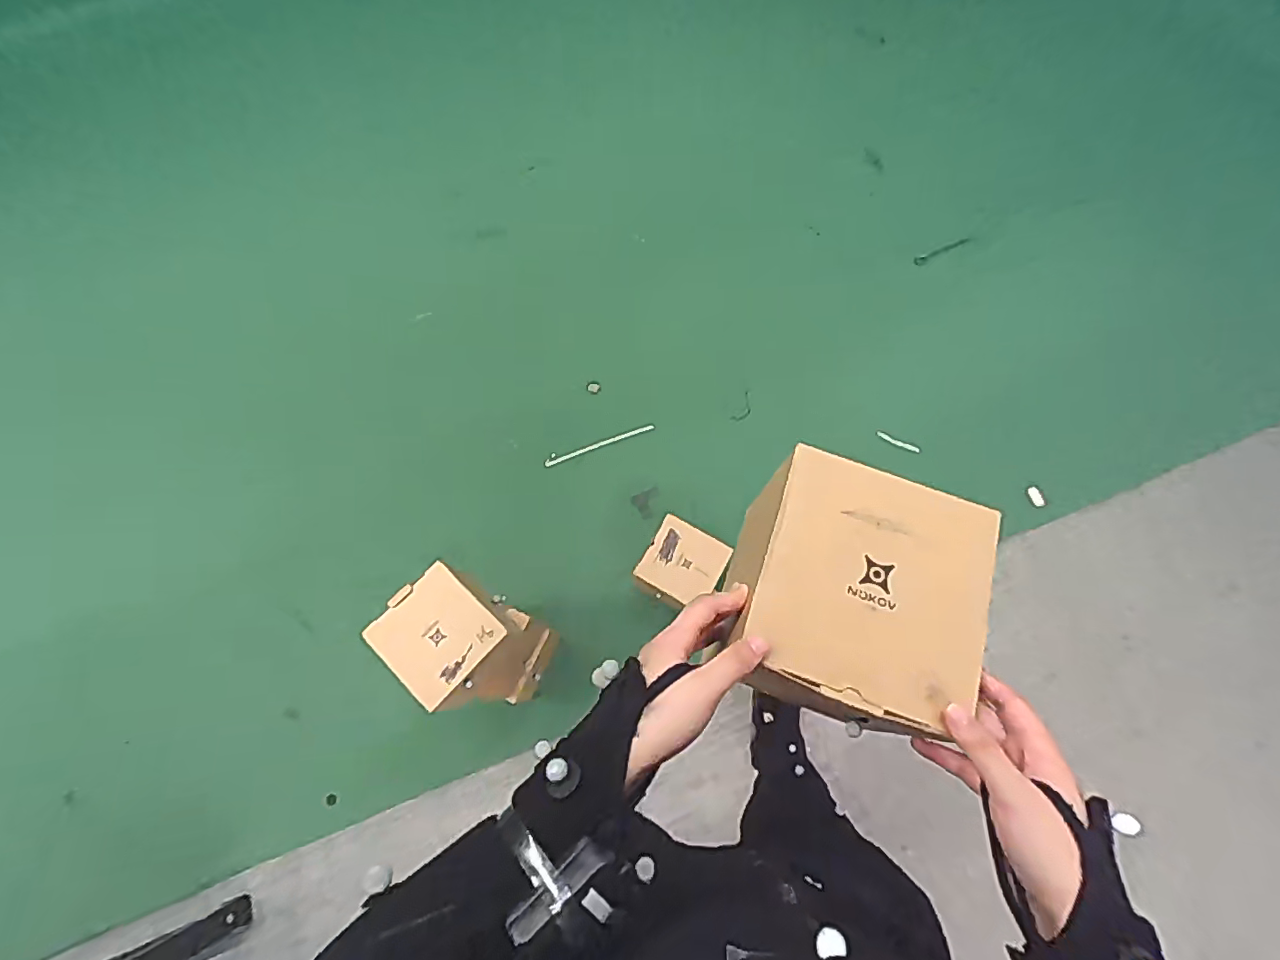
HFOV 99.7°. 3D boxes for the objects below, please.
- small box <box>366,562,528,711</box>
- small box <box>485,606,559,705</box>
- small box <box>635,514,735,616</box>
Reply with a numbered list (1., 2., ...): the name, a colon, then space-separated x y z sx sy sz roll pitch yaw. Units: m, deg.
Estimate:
1. small box: -0.321 0.271 0.933 0.179 0.176 0.168 41 77 14
2. small box: -0.303 0.392 1.237 0.179 0.176 0.168 23 72 9
3. small box: 0.103 0.211 1.293 0.179 0.176 0.168 29 74 9
